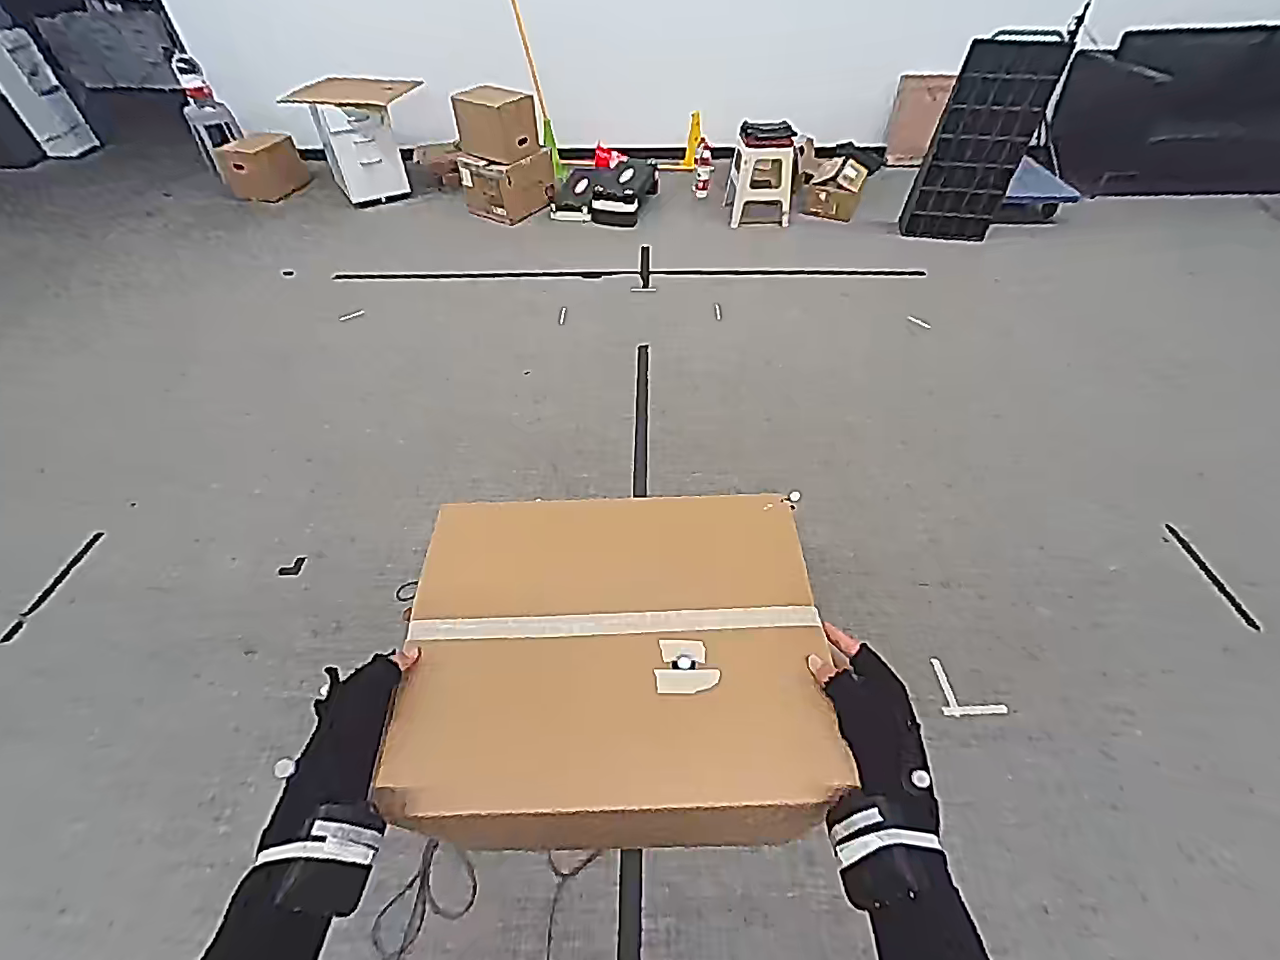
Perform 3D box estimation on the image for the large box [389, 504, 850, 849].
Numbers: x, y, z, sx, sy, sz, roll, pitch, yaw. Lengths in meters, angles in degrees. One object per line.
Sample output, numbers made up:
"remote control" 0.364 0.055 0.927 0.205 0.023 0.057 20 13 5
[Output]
"large box" -0.021 0.247 0.666 0.408 0.320 0.320 -1 52 0
